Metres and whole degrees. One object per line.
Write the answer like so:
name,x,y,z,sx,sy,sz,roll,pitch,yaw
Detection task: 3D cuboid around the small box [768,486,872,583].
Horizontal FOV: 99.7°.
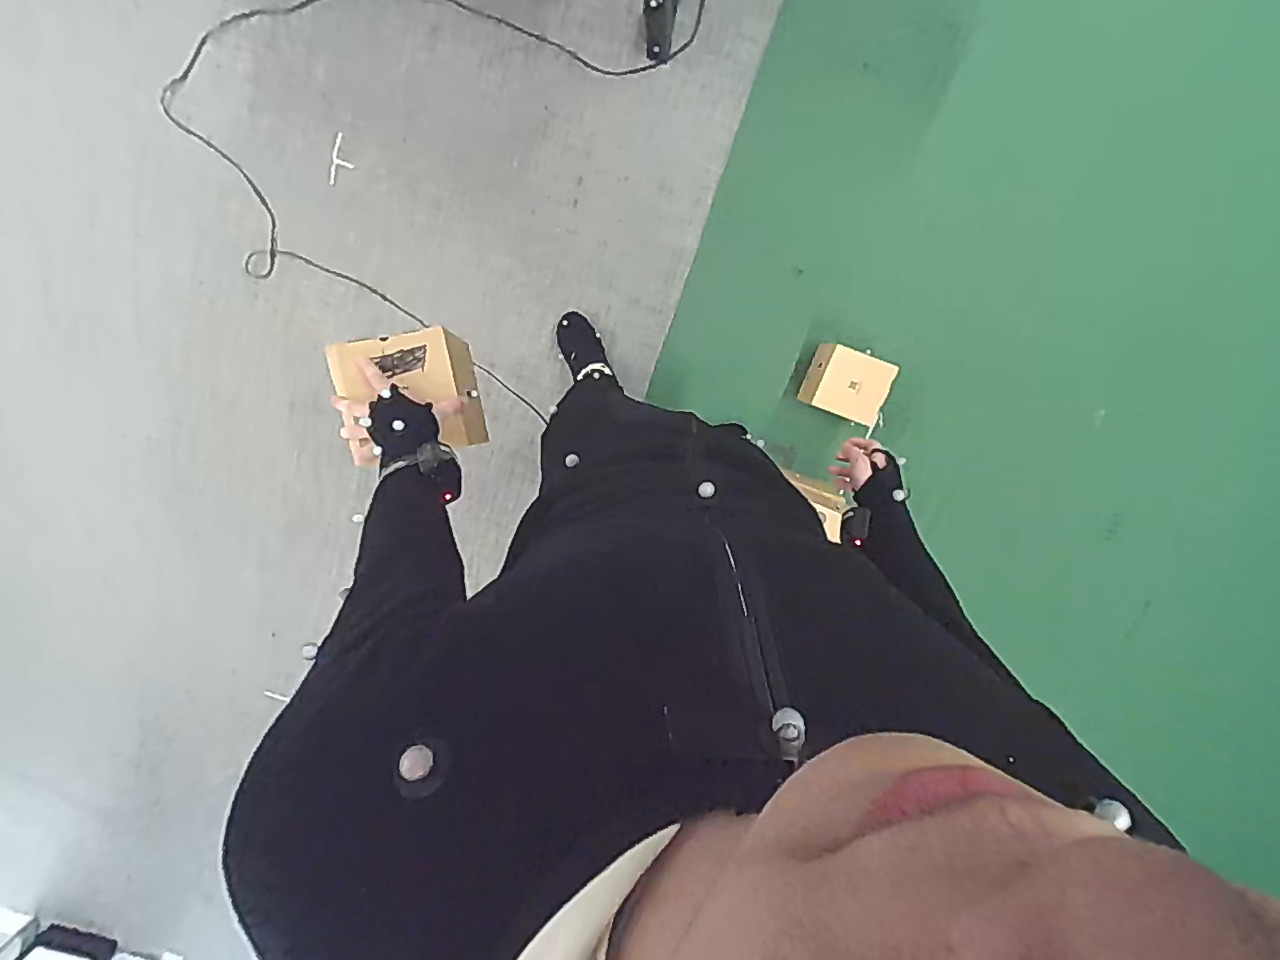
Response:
small box,0.456,0.132,1.398,0.179,0.176,0.168,22,105,-4

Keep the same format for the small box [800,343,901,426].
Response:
small box,0.557,-0.261,1.461,0.179,0.176,0.168,20,104,-4

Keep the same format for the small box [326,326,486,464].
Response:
small box,-0.352,-0.127,0.846,0.168,0.176,0.179,-11,97,-3
